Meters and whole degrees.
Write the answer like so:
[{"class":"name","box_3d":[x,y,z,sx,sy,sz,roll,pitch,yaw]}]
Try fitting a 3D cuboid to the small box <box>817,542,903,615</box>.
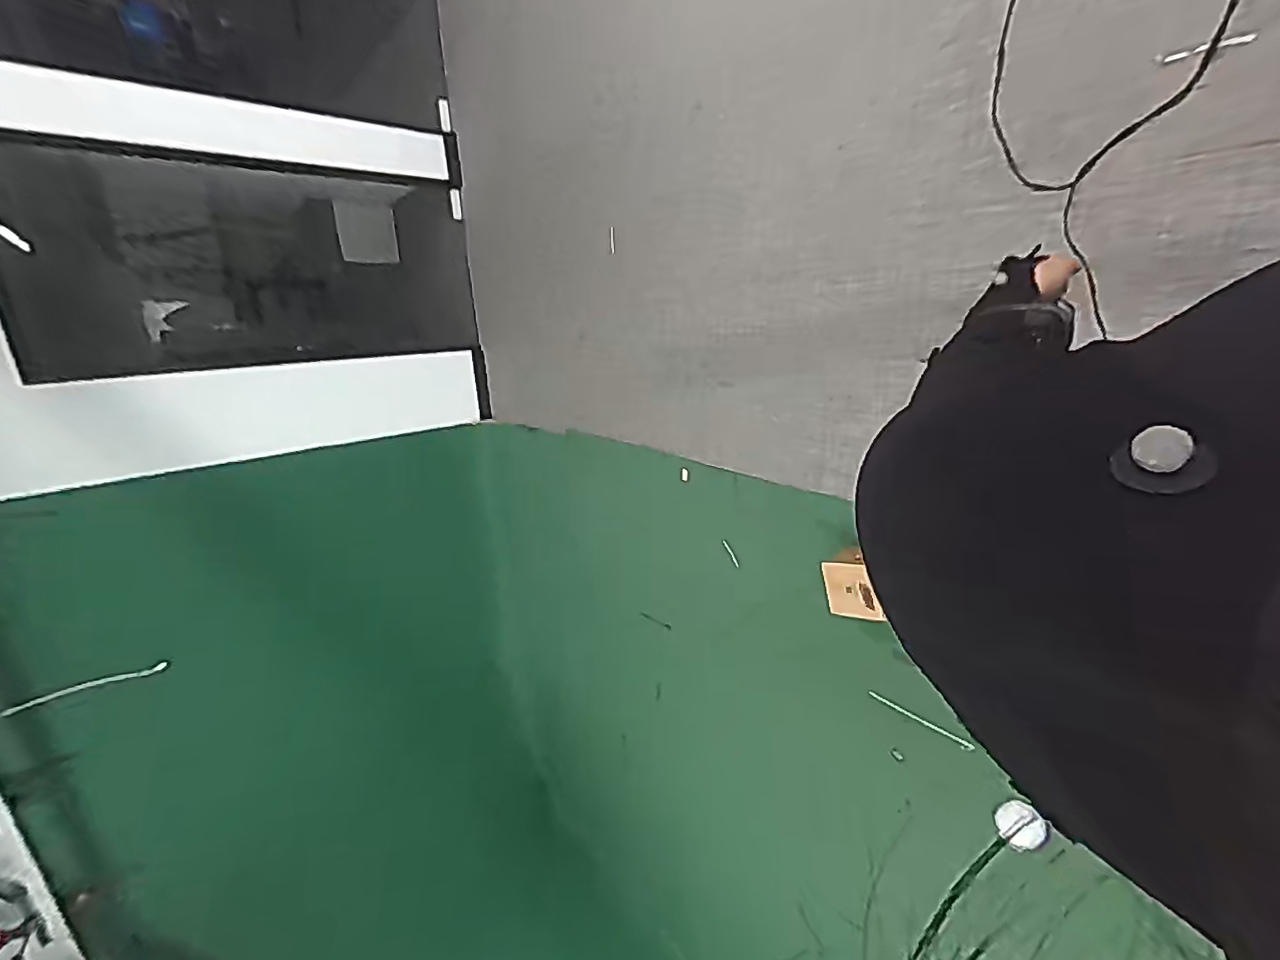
[{"class":"small box","box_3d":[0.664,0.288,1.618,0.179,0.176,0.168,-6,98,53]}]
